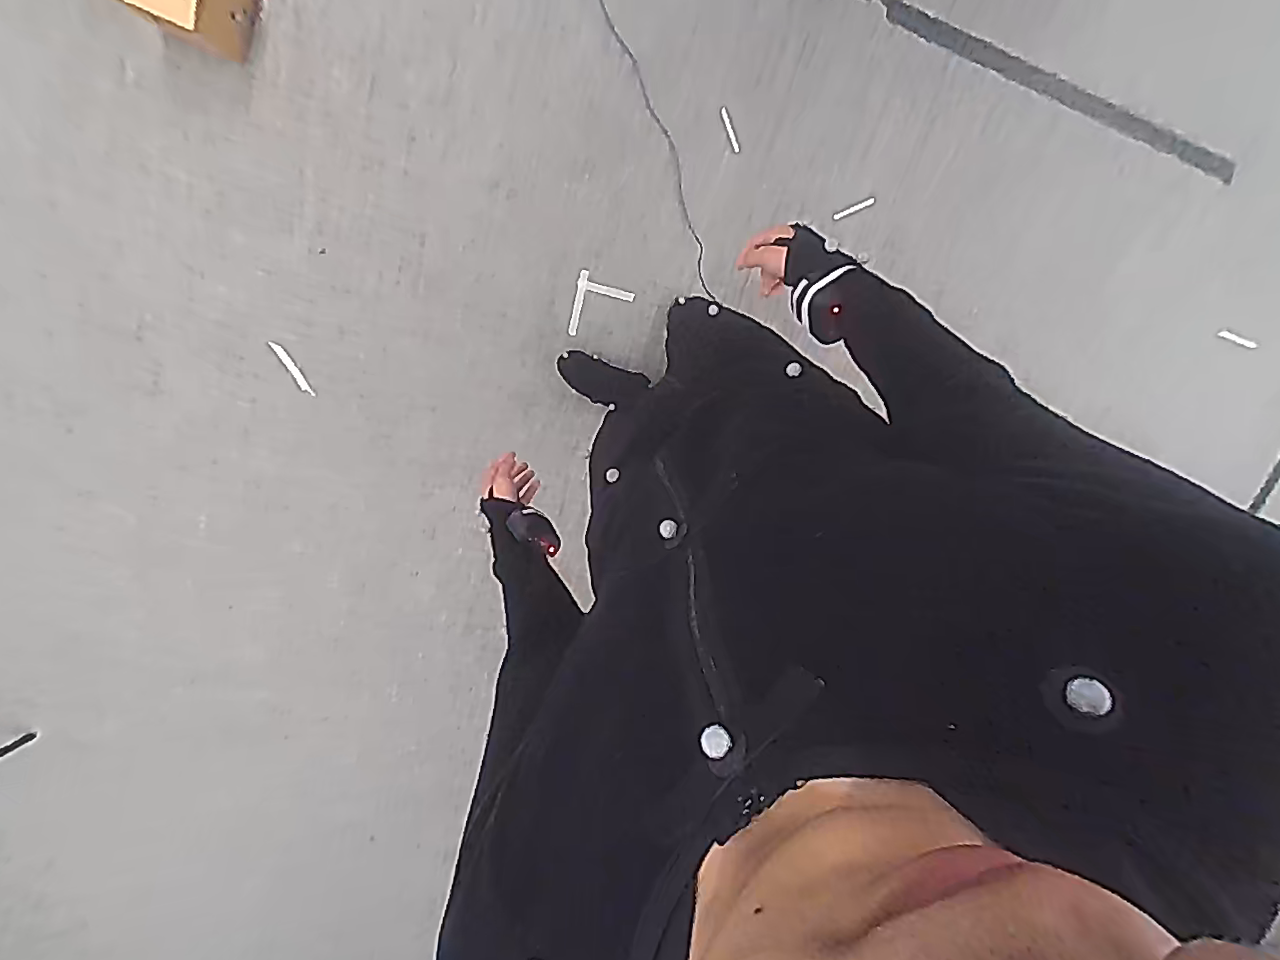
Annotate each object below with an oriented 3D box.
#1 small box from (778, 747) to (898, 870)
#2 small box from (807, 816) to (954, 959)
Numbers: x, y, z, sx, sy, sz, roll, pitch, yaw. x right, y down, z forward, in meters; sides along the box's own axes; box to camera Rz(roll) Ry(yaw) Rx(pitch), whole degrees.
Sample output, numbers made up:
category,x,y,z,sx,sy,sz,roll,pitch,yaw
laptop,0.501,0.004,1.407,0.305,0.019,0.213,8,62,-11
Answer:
category,x,y,z,sx,sy,sz,roll,pitch,yaw
small box,0.431,0.742,1.212,0.168,0.176,0.179,17,105,-12
small box,0.456,0.793,1.057,0.179,0.176,0.168,13,107,-12
